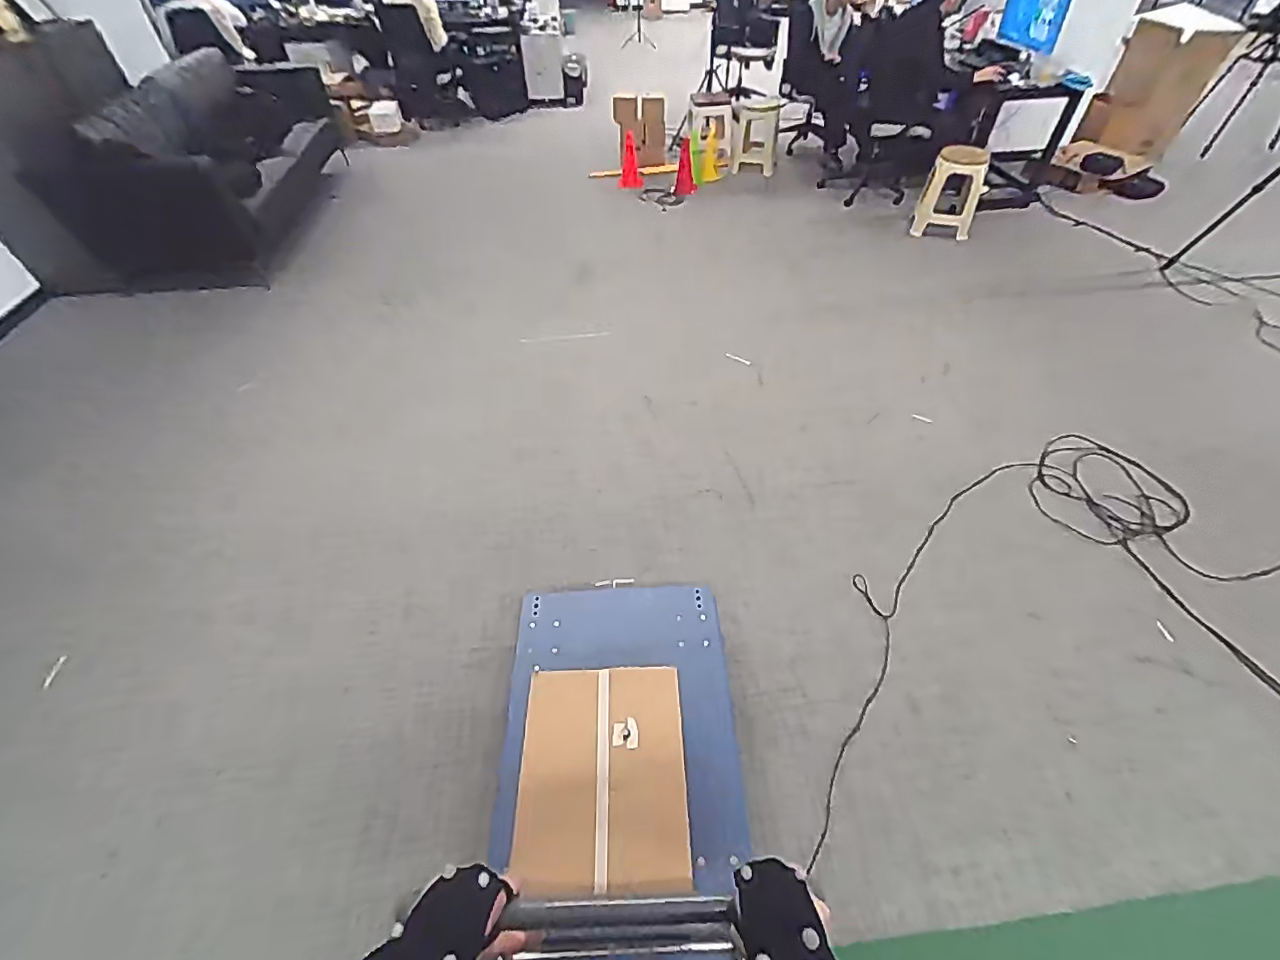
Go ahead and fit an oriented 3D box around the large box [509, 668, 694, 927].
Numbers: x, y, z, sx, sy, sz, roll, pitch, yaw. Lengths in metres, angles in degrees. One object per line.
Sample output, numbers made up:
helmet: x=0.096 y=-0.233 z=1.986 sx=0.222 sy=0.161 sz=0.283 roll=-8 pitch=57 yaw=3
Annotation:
large box: x=-0.070 y=0.658 z=1.133 sx=0.320 sy=0.320 sz=0.408 roll=-2 pitch=46 yaw=-1
